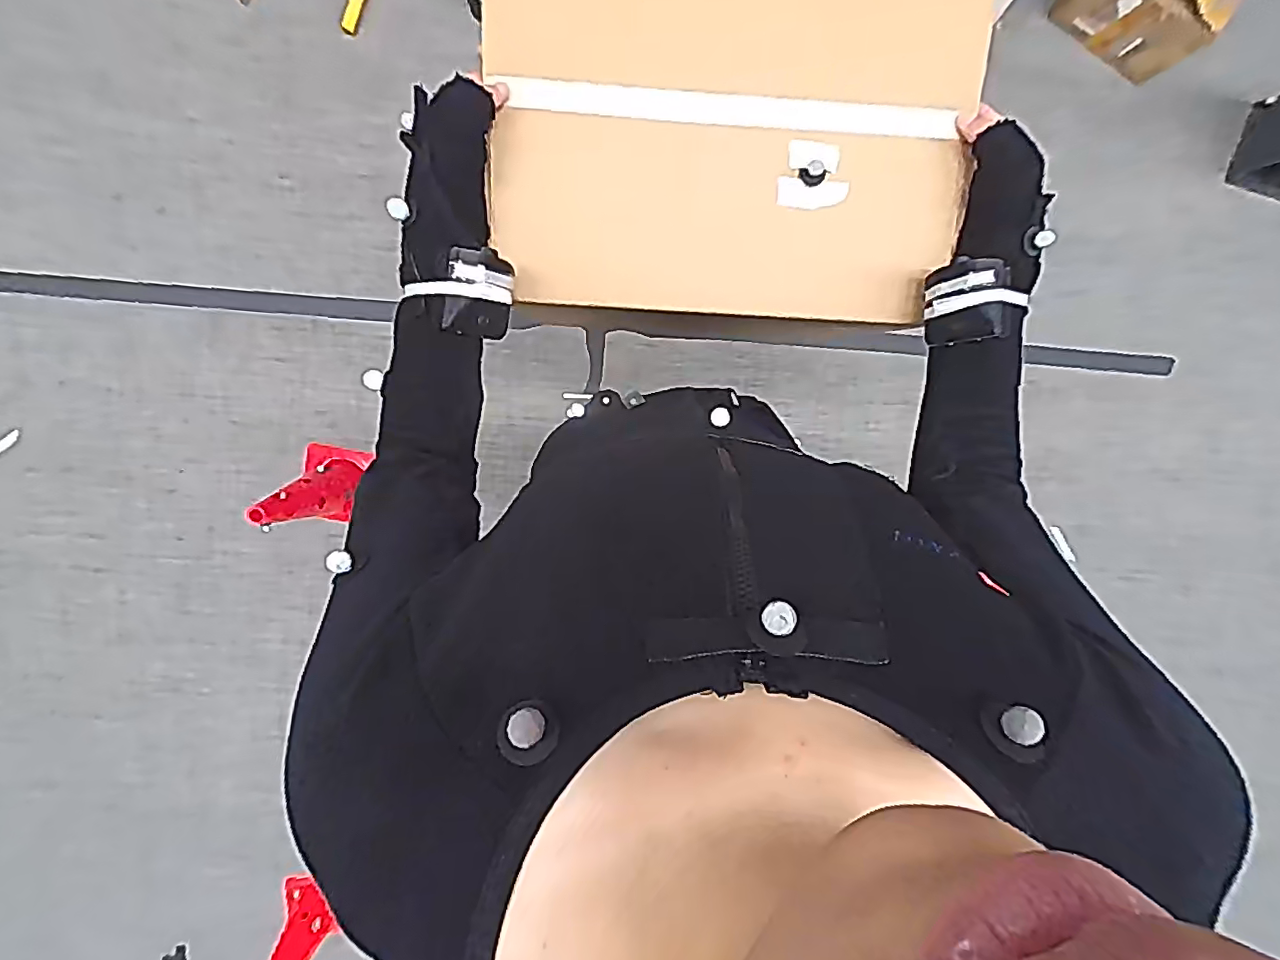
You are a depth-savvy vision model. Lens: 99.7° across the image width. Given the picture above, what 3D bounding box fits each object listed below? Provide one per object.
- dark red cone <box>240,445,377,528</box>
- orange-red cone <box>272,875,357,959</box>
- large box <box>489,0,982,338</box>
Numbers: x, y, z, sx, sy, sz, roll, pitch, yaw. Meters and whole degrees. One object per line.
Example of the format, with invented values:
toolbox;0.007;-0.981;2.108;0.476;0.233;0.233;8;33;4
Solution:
dark red cone;-0.779;0.043;1.244;0.201;0.394;0.202;10;99;-6
orange-red cone;-0.952;1.313;1.466;0.198;0.360;0.199;2;101;-2
large box;0.067;-0.330;0.592;0.408;0.320;0.320;2;102;-4
